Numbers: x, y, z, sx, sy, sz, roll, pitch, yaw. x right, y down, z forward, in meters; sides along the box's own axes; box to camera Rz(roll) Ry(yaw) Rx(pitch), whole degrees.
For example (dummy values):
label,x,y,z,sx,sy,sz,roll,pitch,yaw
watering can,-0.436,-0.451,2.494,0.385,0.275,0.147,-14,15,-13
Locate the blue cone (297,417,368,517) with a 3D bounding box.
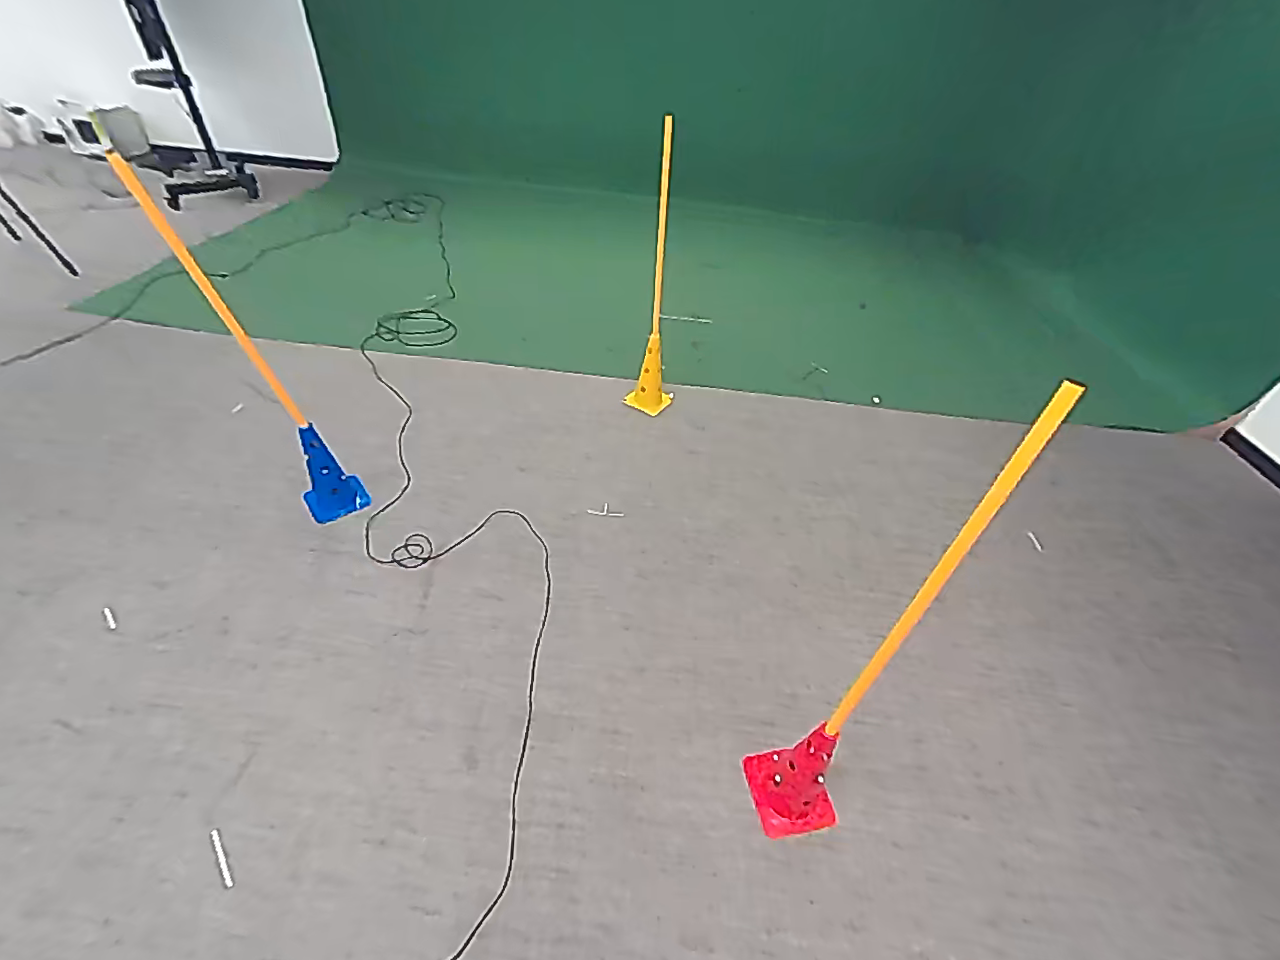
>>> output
label,x,y,z,sx,sy,sz,roll,pitch,yaw
blue cone,-1.134,-0.062,1.926,0.193,0.380,0.192,-29,54,-30
